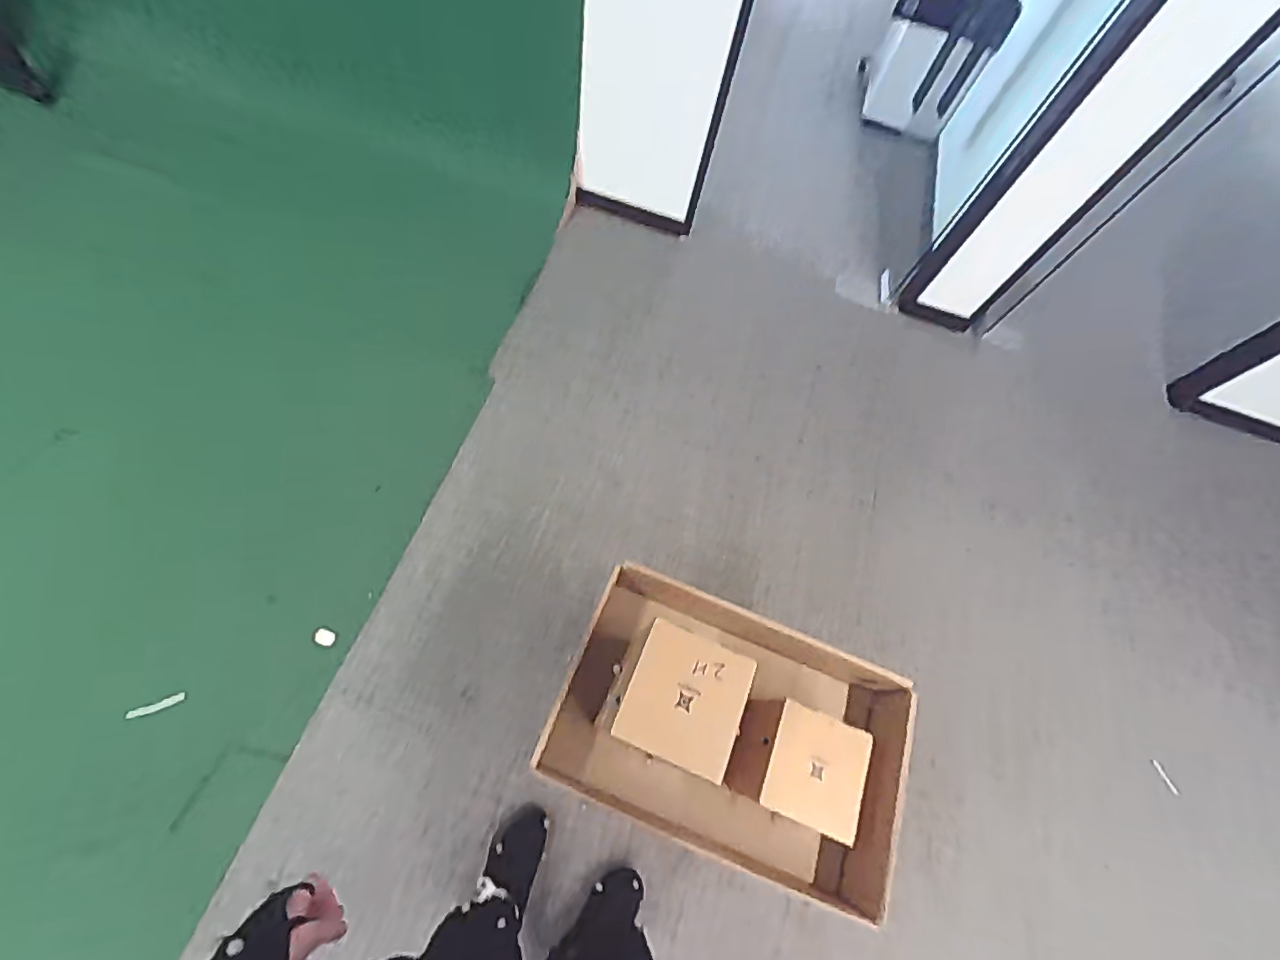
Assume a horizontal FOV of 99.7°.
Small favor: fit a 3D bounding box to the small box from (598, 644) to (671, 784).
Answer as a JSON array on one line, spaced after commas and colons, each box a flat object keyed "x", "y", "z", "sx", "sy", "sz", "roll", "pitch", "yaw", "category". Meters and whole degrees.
[{"x": 0.031, "y": 0.426, "z": 0.977, "sx": 0.168, "sy": 0.176, "sz": 0.179, "roll": 25, "pitch": 62, "yaw": 5, "category": "small box"}]

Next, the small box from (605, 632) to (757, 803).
[{"x": 0.054, "y": 0.361, "z": 0.827, "sx": 0.168, "sy": 0.176, "sz": 0.179, "roll": 24, "pitch": 63, "yaw": 3, "category": "small box"}]
